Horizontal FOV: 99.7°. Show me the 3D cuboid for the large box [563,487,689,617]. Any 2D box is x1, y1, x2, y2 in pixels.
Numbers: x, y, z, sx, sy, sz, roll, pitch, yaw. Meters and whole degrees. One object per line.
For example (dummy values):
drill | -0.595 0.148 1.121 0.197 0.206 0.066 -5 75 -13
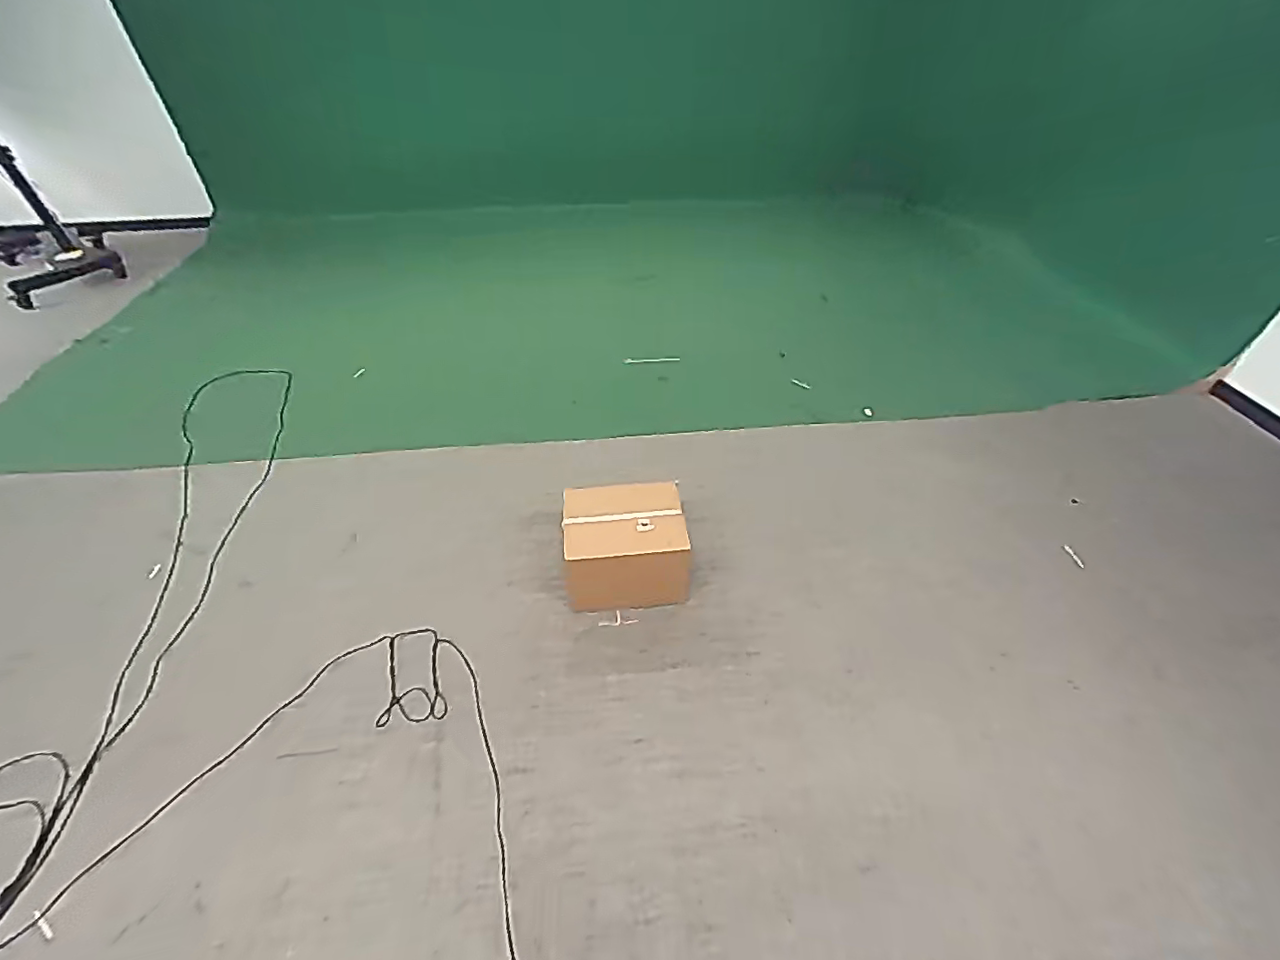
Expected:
large box | -0.057 0.257 1.925 0.408 0.320 0.320 -5 44 -5
